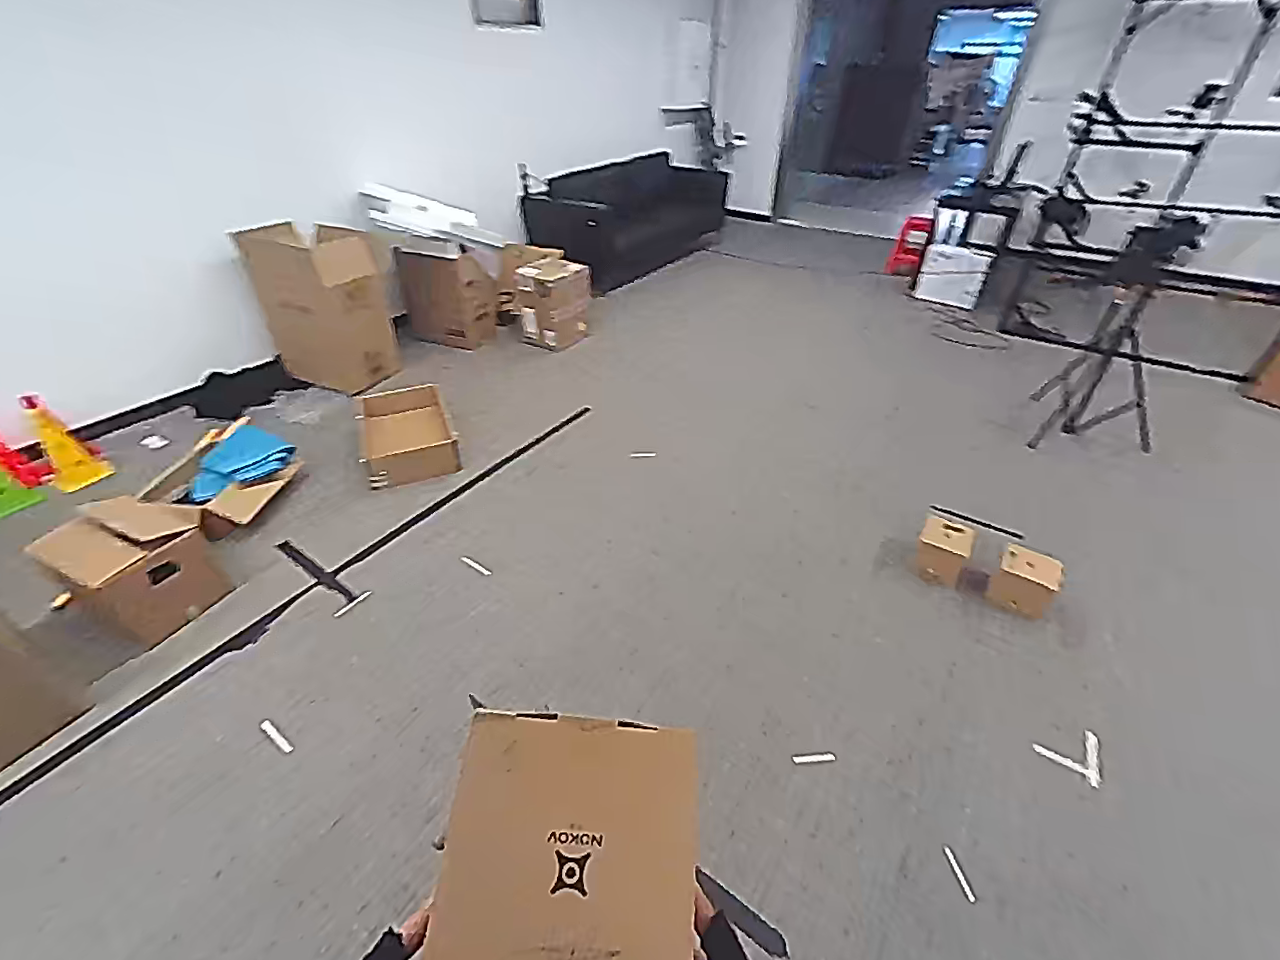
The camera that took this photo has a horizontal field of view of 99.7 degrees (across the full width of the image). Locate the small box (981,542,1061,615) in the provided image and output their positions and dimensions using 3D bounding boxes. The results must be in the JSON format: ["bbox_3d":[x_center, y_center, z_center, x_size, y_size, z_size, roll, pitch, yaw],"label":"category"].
[{"bbox_3d":[1.385,0.364,1.969,0.179,0.176,0.168,25,44,28],"label":"small box"}]

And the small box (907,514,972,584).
[{"bbox_3d":[1.157,0.268,2.092,0.168,0.176,0.179,21,43,26],"label":"small box"}]

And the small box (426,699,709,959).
[{"bbox_3d":[-0.049,0.282,0.416,0.168,0.176,0.179,9,60,-4],"label":"small box"}]
